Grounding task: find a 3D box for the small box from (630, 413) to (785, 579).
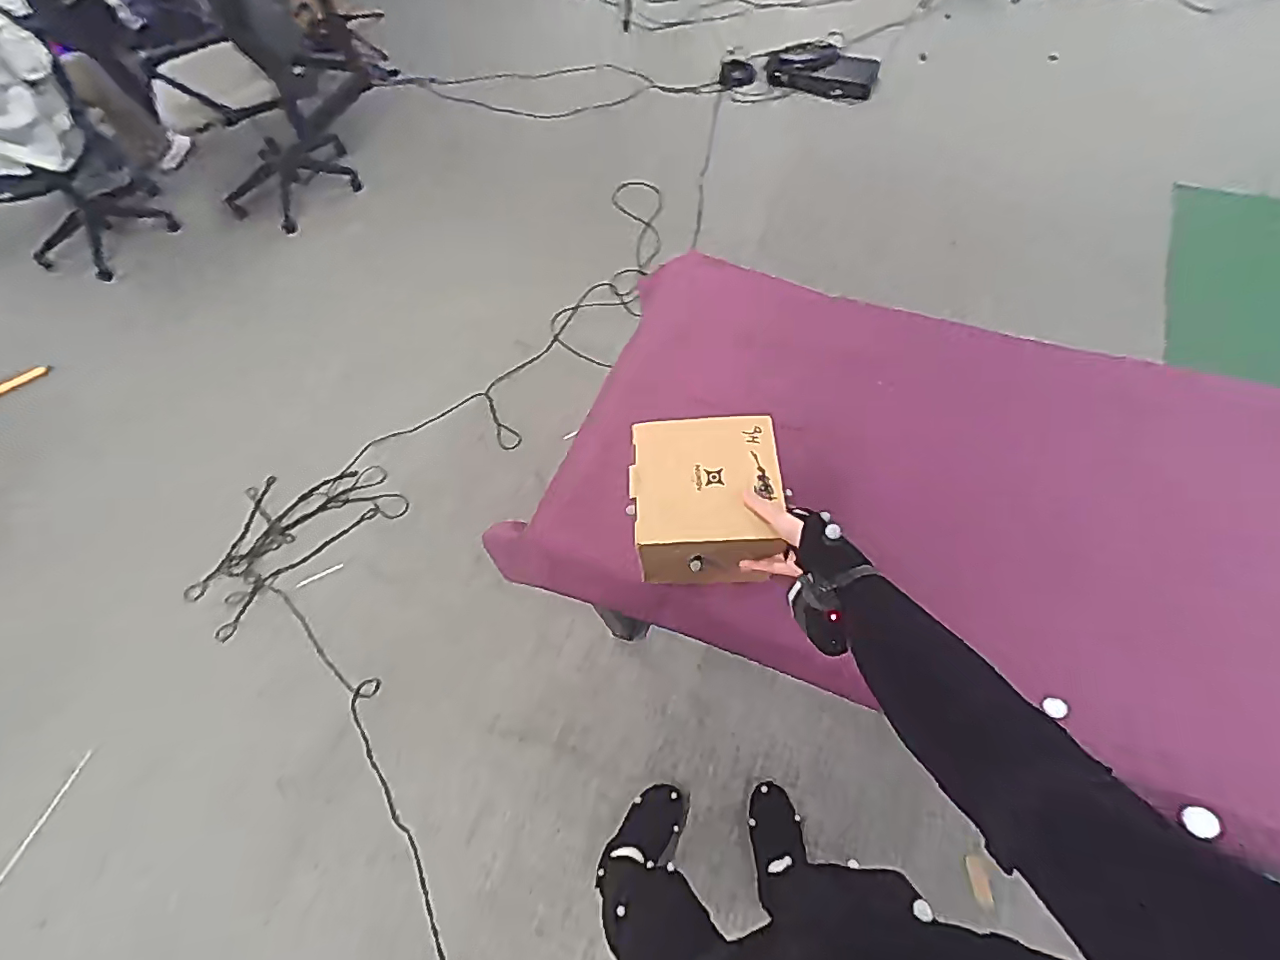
[{"bbox_3d":[0.082,0.029,0.713,0.179,0.176,0.168,-3,63,3],"label":"small box"}]
